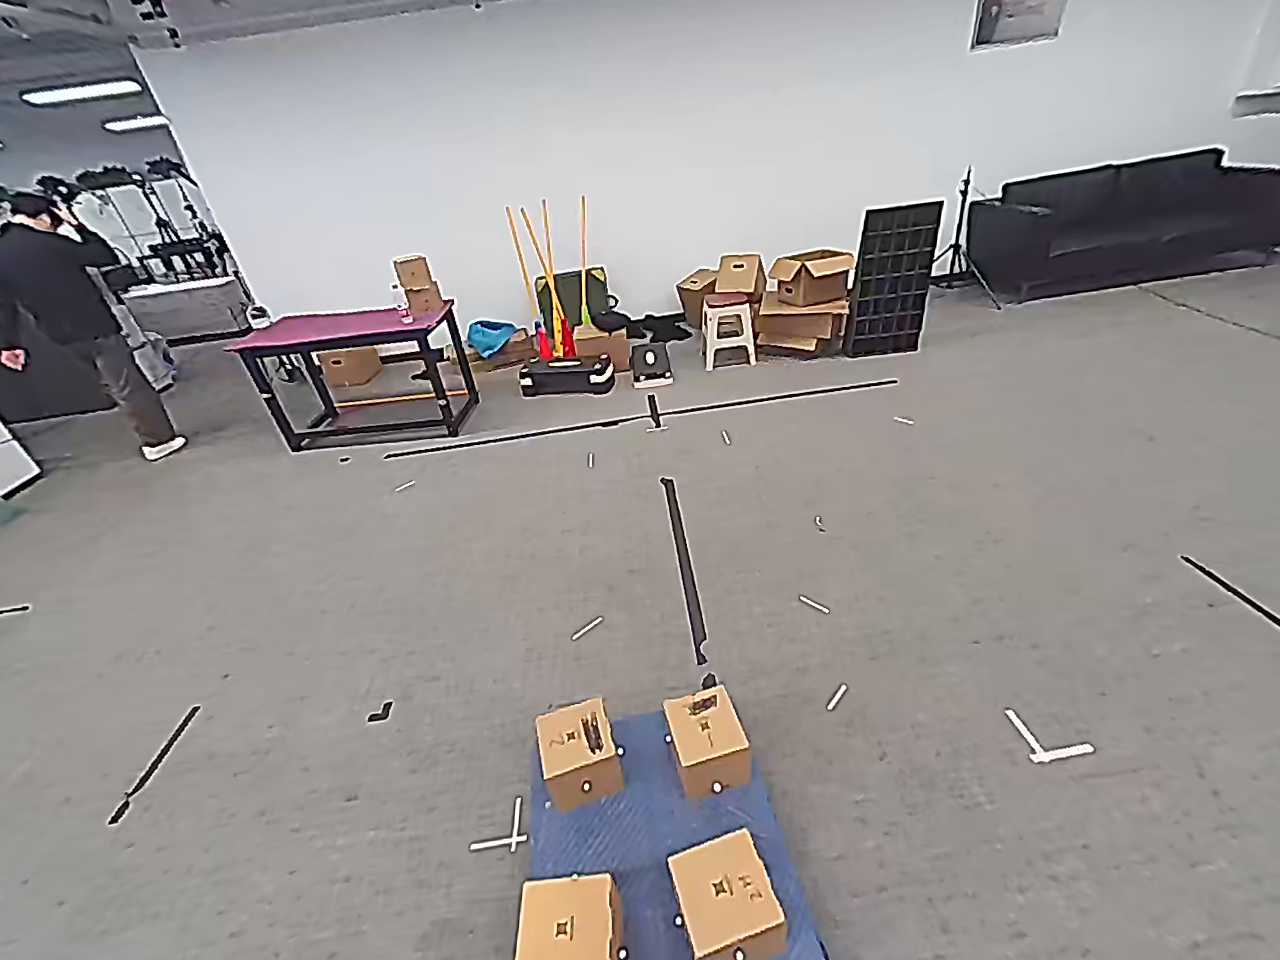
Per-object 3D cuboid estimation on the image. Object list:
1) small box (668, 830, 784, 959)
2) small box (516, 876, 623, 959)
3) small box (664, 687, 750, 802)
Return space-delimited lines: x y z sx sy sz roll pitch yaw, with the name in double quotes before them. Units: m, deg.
"small box" 0.168 0.838 1.058 0.179 0.176 0.168 -15 33 -9
"small box" -0.130 0.898 1.036 0.179 0.176 0.168 -7 32 0
"small box" 0.163 0.654 1.342 0.168 0.176 0.179 -13 34 -7
